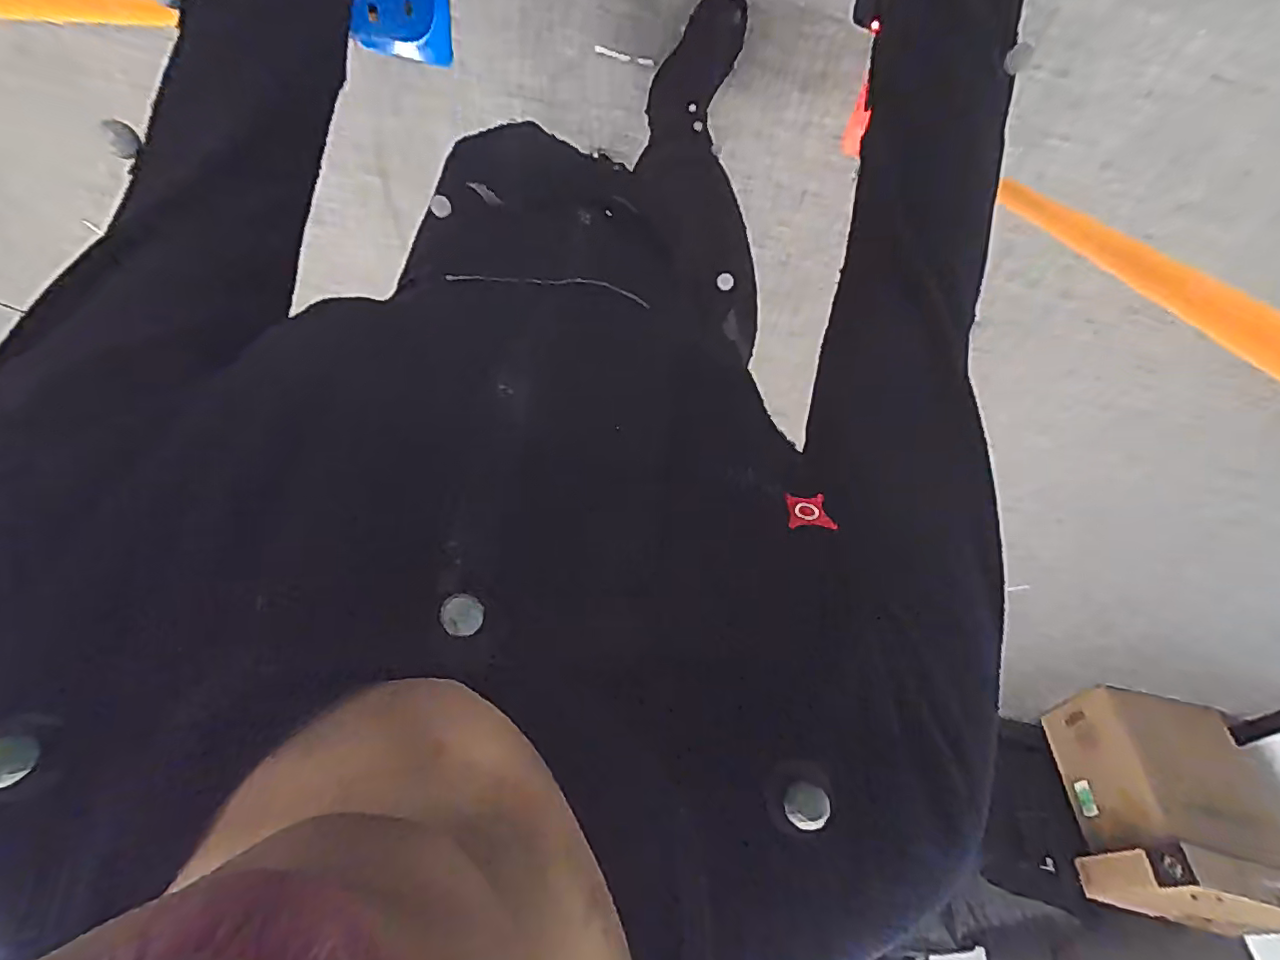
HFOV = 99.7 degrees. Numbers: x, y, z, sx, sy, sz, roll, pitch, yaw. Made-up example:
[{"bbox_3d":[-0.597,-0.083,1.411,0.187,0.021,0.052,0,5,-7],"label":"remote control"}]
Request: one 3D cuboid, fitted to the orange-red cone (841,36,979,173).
[{"bbox_3d":[0.491,-0.606,0.938,0.199,0.360,0.198,14,136,0],"label":"orange-red cone"}]
